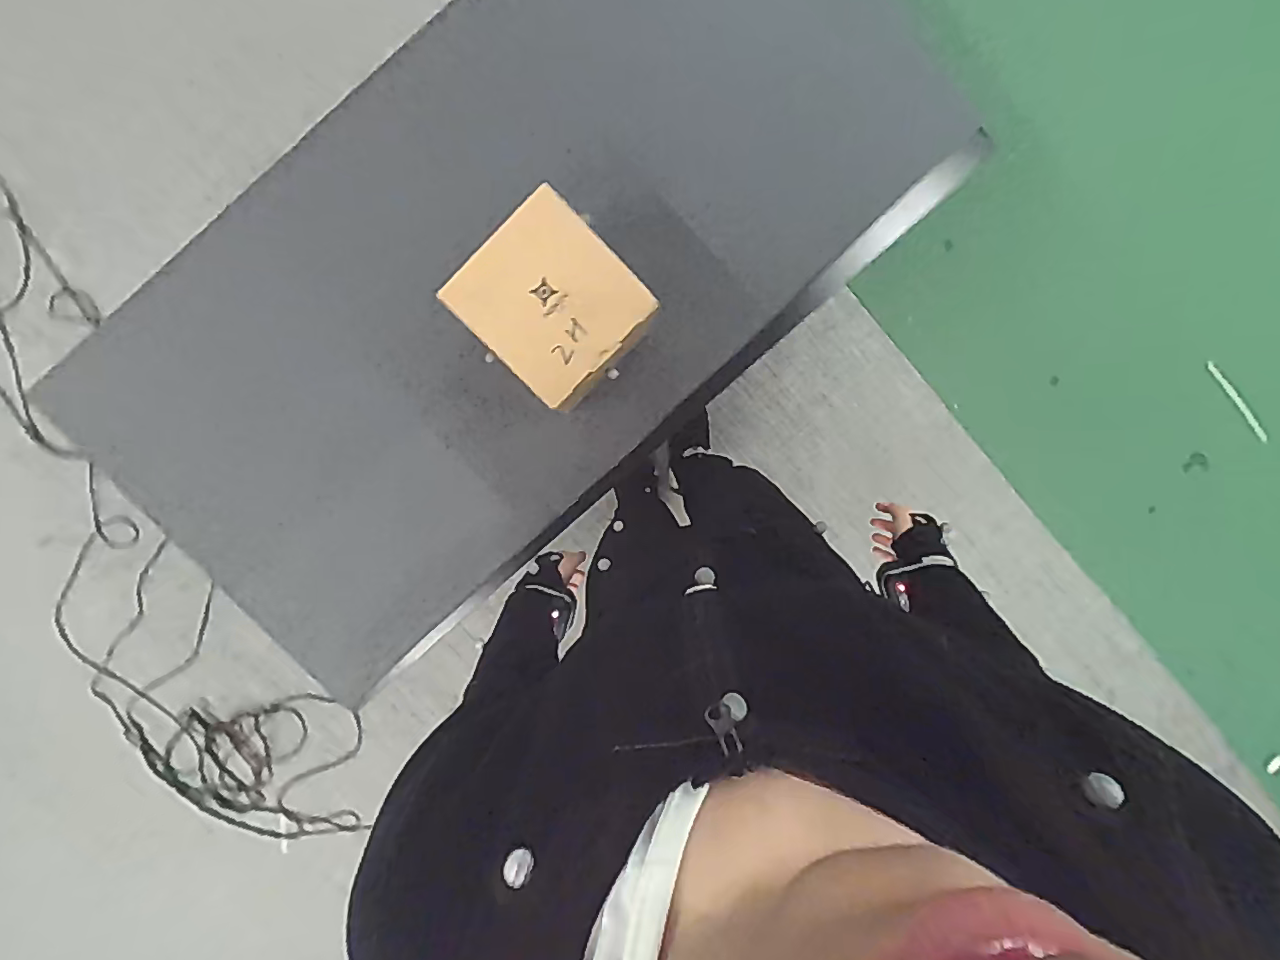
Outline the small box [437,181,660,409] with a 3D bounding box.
[{"bbox_3d":[-0.099,-0.198,0.642,0.179,0.176,0.168,44,92,-5],"label":"small box"}]
